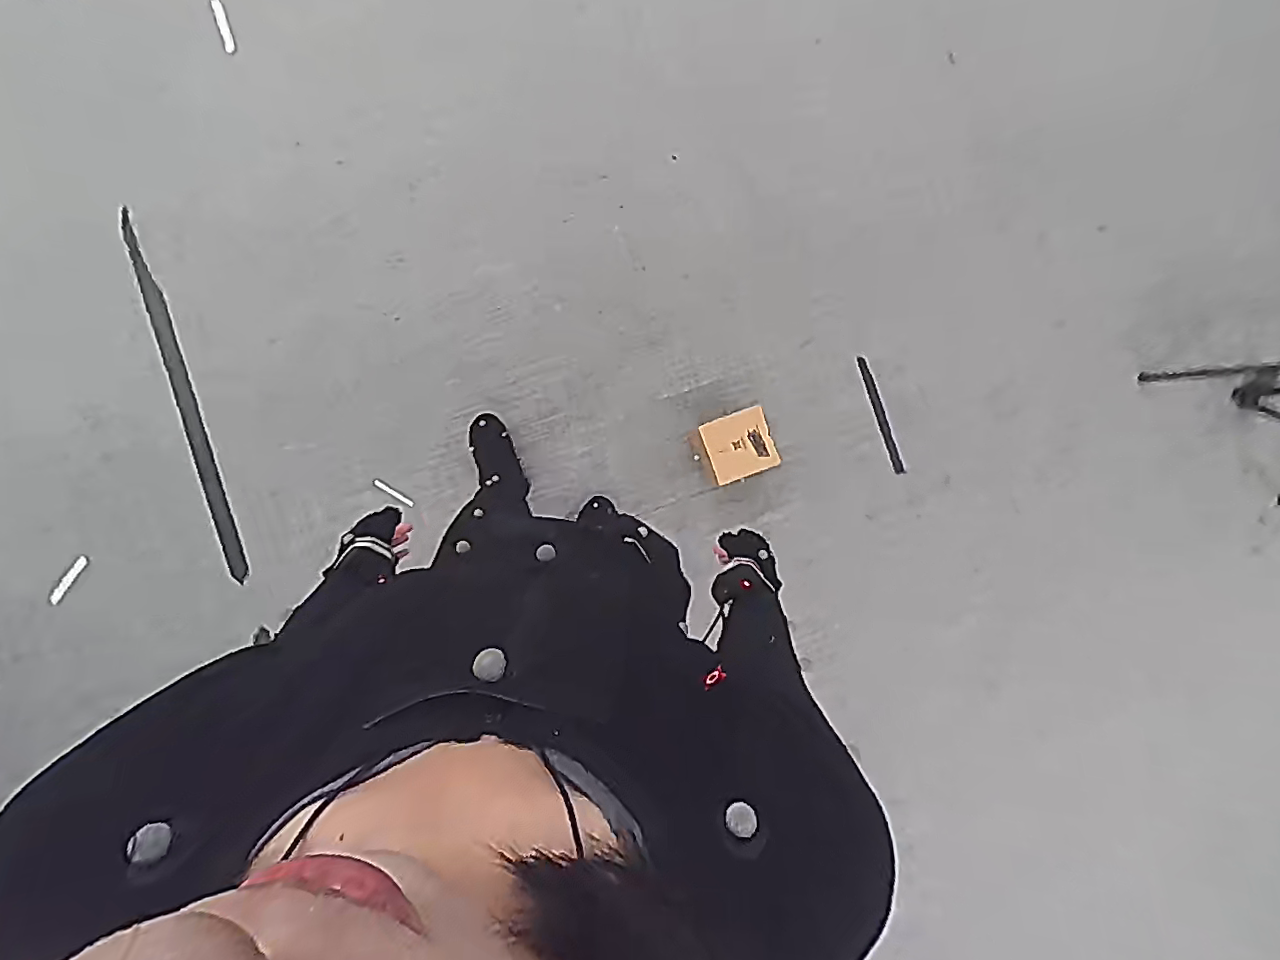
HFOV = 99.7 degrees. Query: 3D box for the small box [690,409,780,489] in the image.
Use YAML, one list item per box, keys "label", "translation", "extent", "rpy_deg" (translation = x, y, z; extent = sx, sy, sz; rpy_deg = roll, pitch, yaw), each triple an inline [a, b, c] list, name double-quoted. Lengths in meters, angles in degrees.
- label: "small box"
  translation: [0.250, -0.080, 1.461]
  extent: [0.179, 0.176, 0.168]
  rpy_deg: [-19, 90, -3]
